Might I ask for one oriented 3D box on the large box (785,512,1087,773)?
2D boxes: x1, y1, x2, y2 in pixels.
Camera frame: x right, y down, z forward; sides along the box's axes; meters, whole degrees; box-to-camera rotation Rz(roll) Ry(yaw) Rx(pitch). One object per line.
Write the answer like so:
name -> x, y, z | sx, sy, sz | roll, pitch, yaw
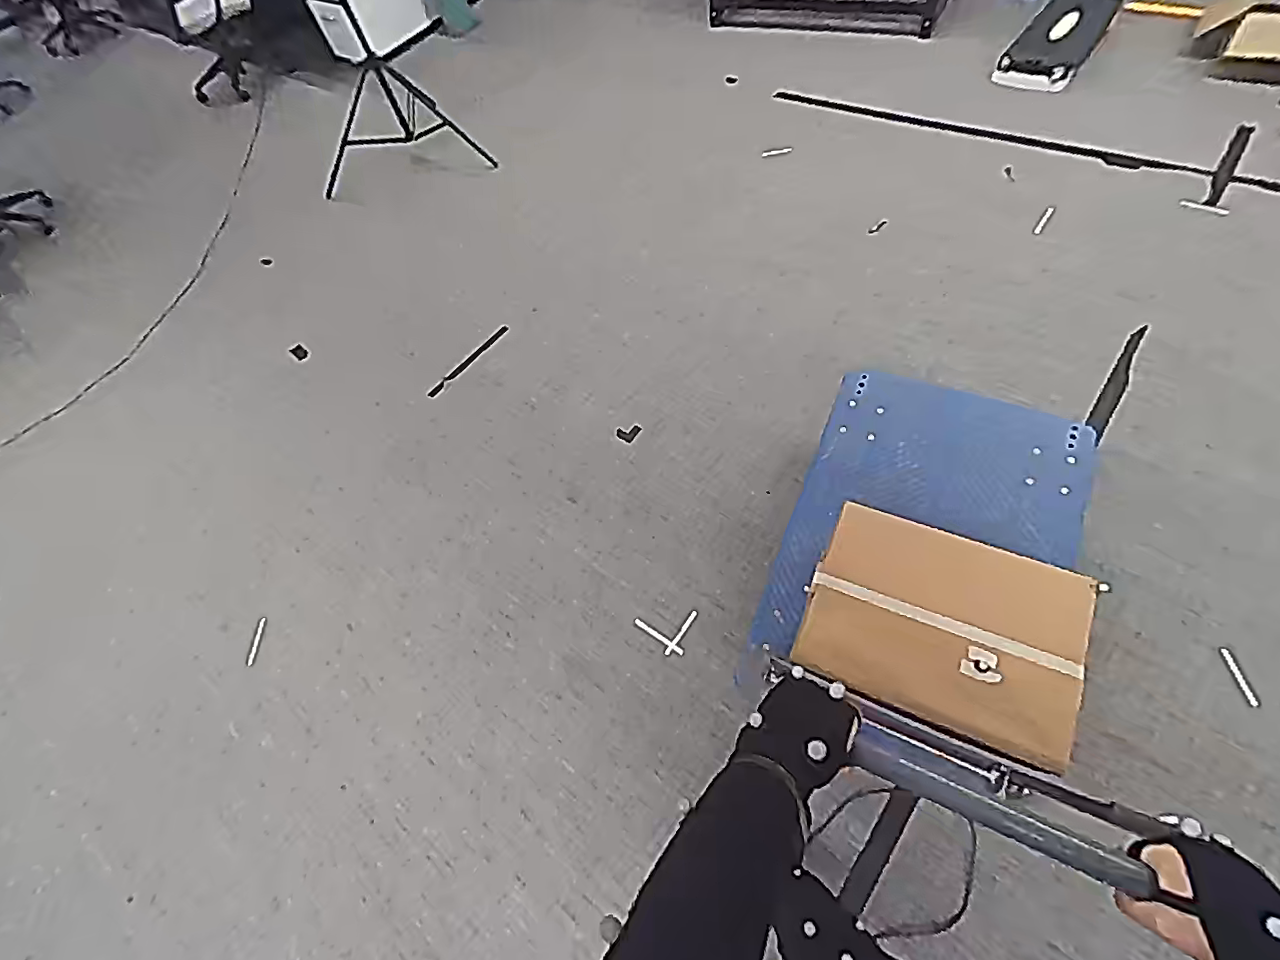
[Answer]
large box -> 0.525, 0.305, 1.039 | 0.408, 0.320, 0.320 | 19, 73, 18
